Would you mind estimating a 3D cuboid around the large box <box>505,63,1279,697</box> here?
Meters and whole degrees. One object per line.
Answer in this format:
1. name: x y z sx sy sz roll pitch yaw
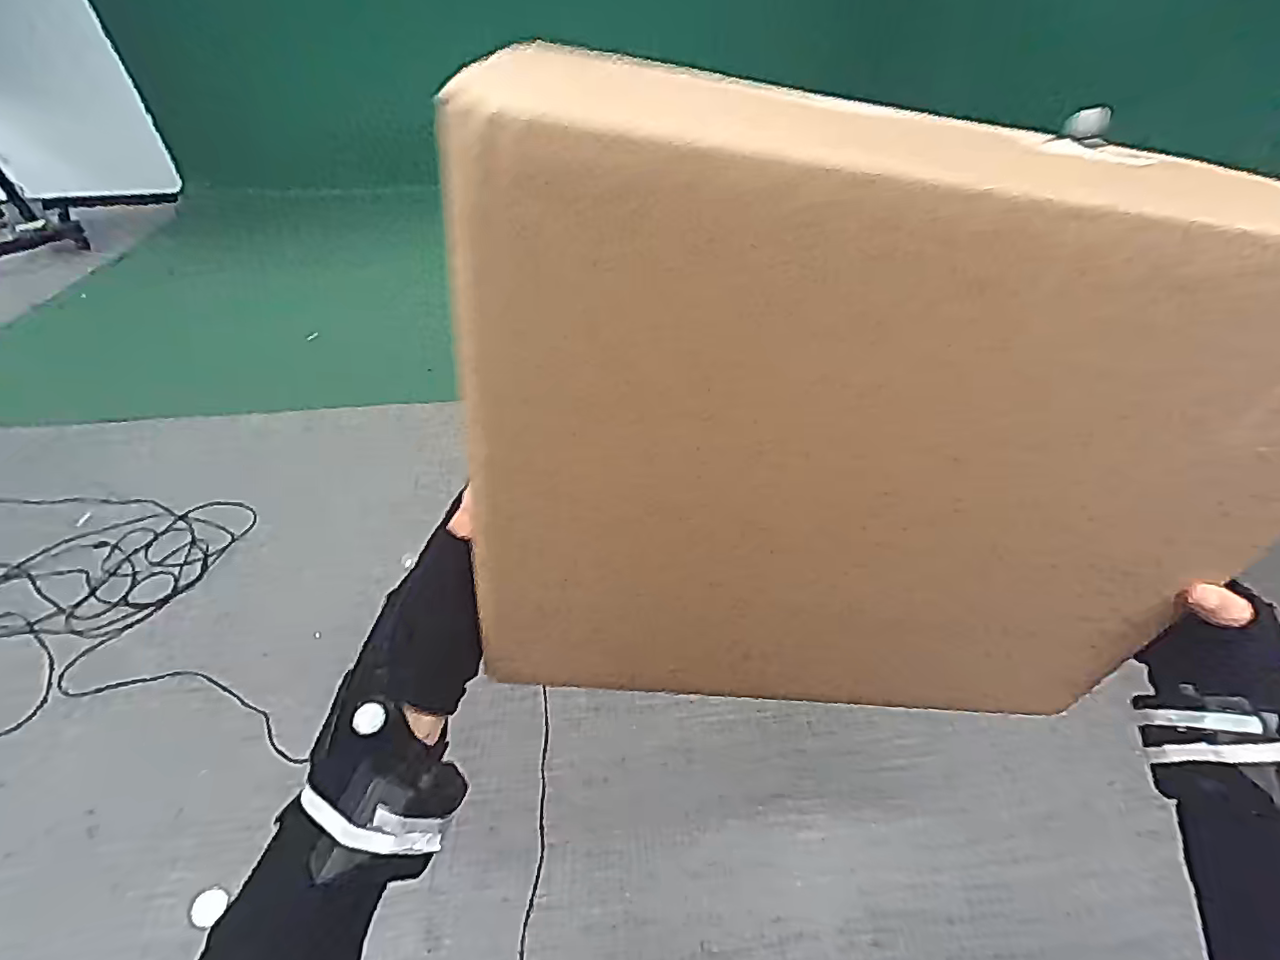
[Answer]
1. large box: 0.126 -0.067 0.392 0.408 0.320 0.320 7 40 -7
